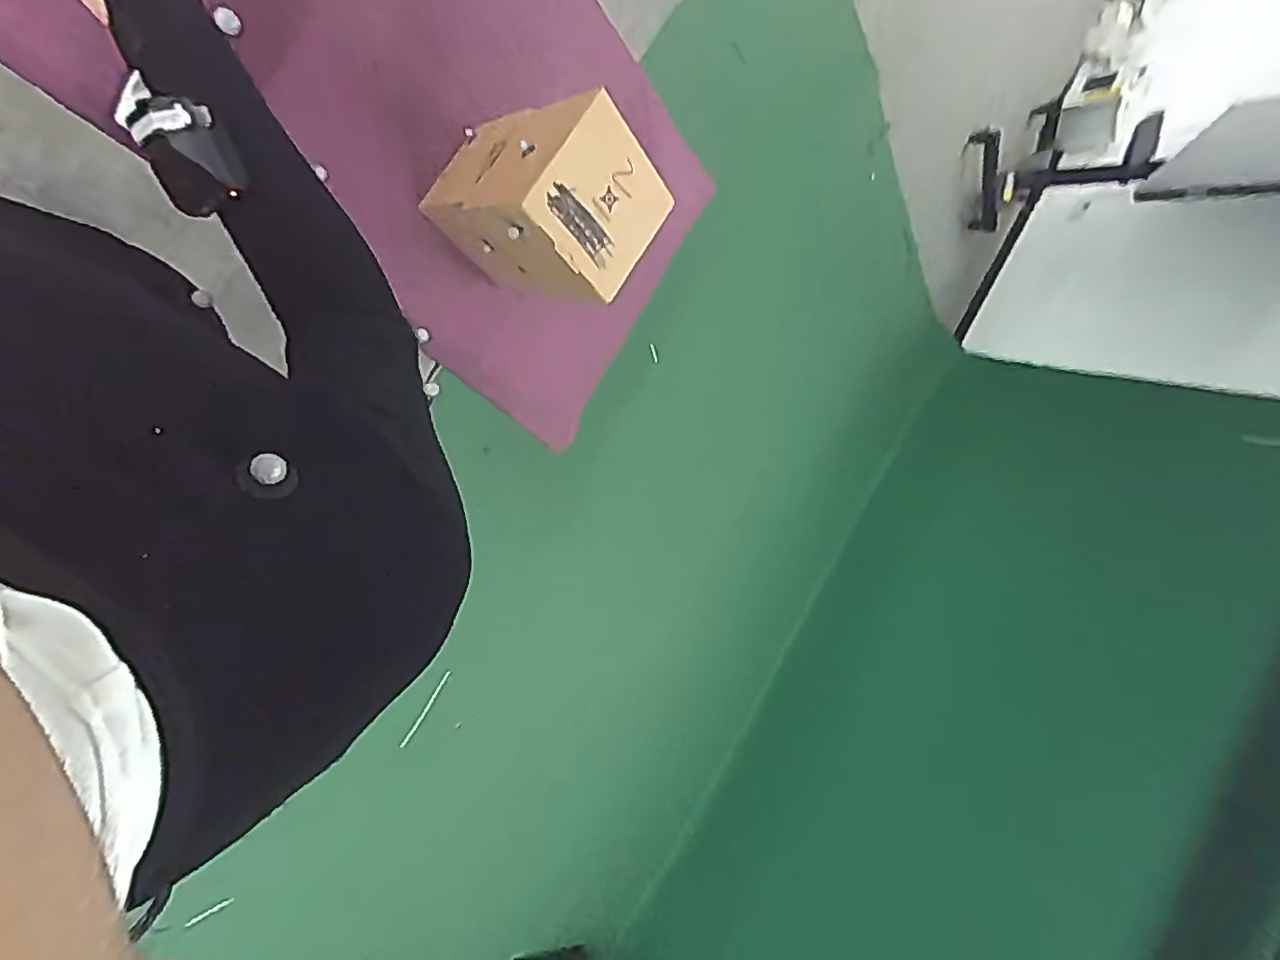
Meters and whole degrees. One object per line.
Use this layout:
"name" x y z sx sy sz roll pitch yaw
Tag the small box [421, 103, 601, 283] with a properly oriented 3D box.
"small box" -0.201 -0.429 0.834 0.168 0.176 0.179 -57 137 -7
